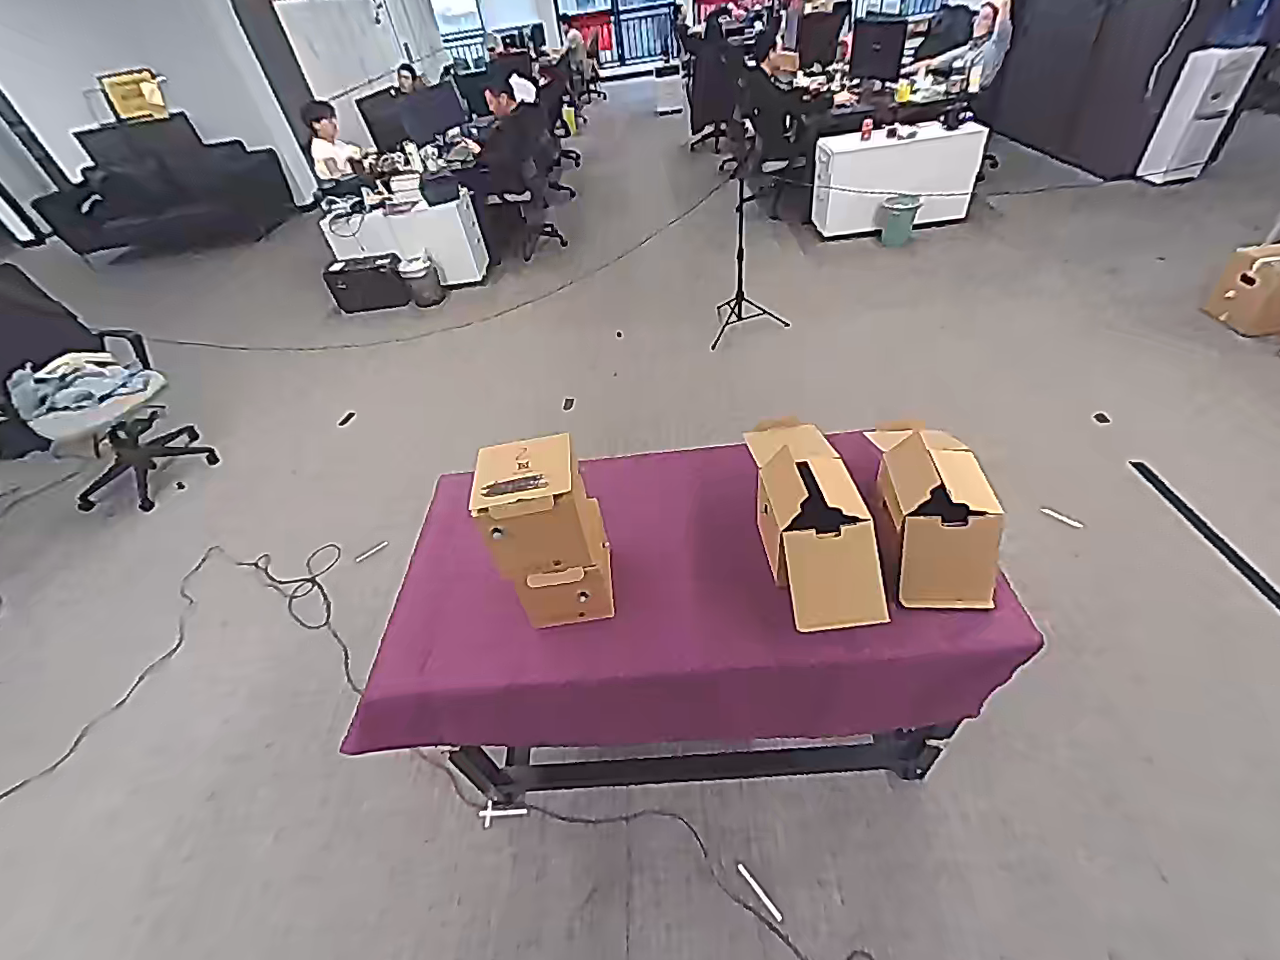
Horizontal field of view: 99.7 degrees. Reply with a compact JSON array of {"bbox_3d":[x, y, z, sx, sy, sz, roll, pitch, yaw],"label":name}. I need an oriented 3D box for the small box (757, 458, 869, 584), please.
[{"bbox_3d":[0.331,0.082,1.074,0.168,0.176,0.179,-8,43,3],"label":"small box"}]

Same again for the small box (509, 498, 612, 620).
[{"bbox_3d":[-0.150,0.163,1.075,0.168,0.176,0.179,-8,43,1],"label":"small box"}]
